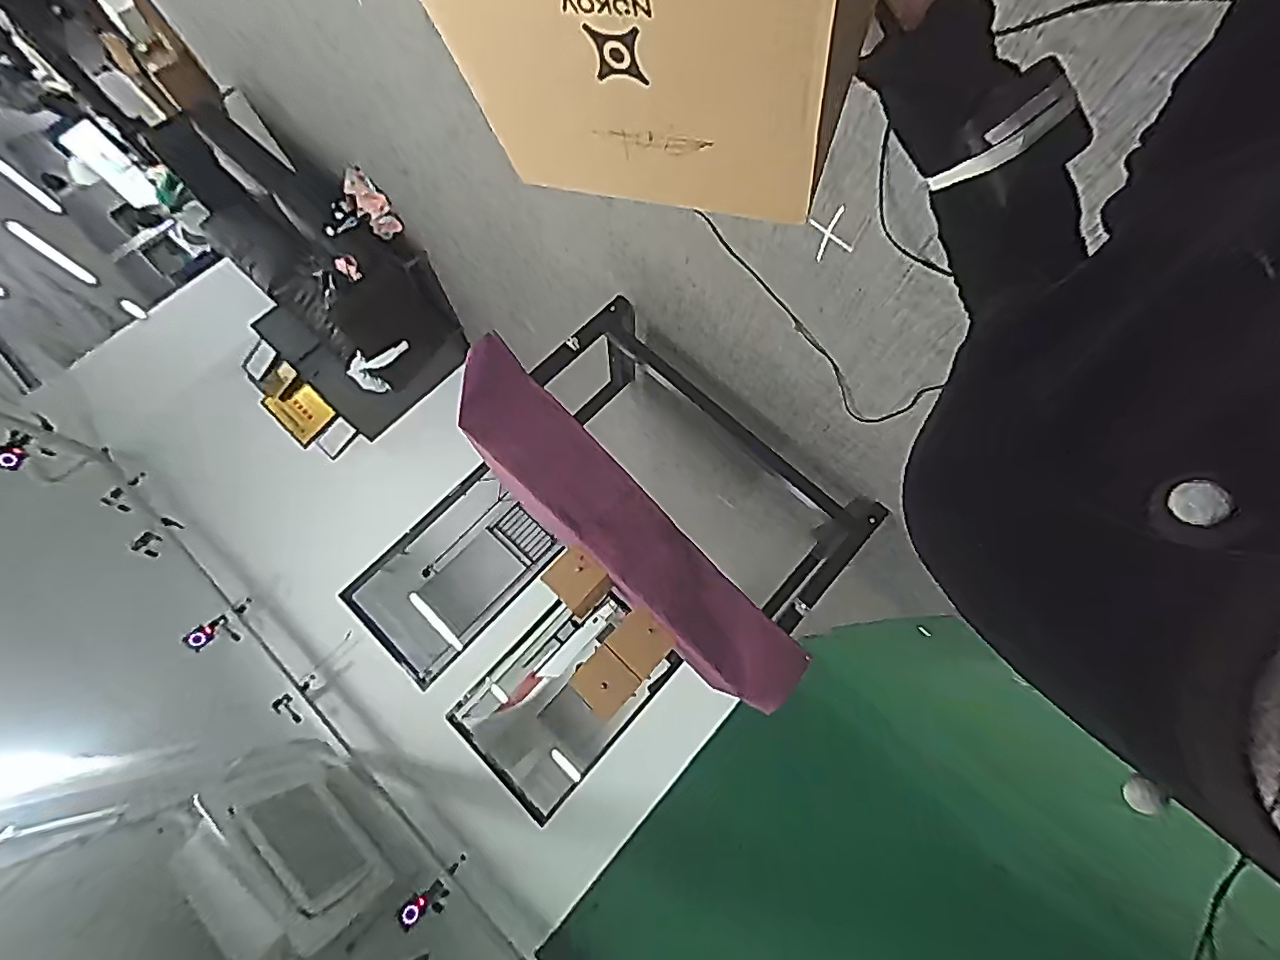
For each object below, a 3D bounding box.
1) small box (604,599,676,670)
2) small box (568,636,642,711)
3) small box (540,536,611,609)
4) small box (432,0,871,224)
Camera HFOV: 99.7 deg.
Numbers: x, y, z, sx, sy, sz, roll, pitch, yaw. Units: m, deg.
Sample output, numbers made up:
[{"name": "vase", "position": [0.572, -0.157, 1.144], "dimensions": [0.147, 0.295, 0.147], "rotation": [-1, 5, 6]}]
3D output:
[{"name": "small box", "position": [0.000, 0.518, 1.826], "dimensions": [0.179, 0.176, 0.168], "rotation": [42, 167, 13]}, {"name": "small box", "position": [-0.113, 0.631, 1.788], "dimensions": [0.179, 0.176, 0.168], "rotation": [40, 166, 13]}, {"name": "small box", "position": [-0.218, 0.324, 1.894], "dimensions": [0.168, 0.176, 0.179], "rotation": [40, 165, 18]}, {"name": "small box", "position": [0.019, -0.249, 0.230], "dimensions": [0.168, 0.176, 0.179], "rotation": [17, 173, 14]}]
